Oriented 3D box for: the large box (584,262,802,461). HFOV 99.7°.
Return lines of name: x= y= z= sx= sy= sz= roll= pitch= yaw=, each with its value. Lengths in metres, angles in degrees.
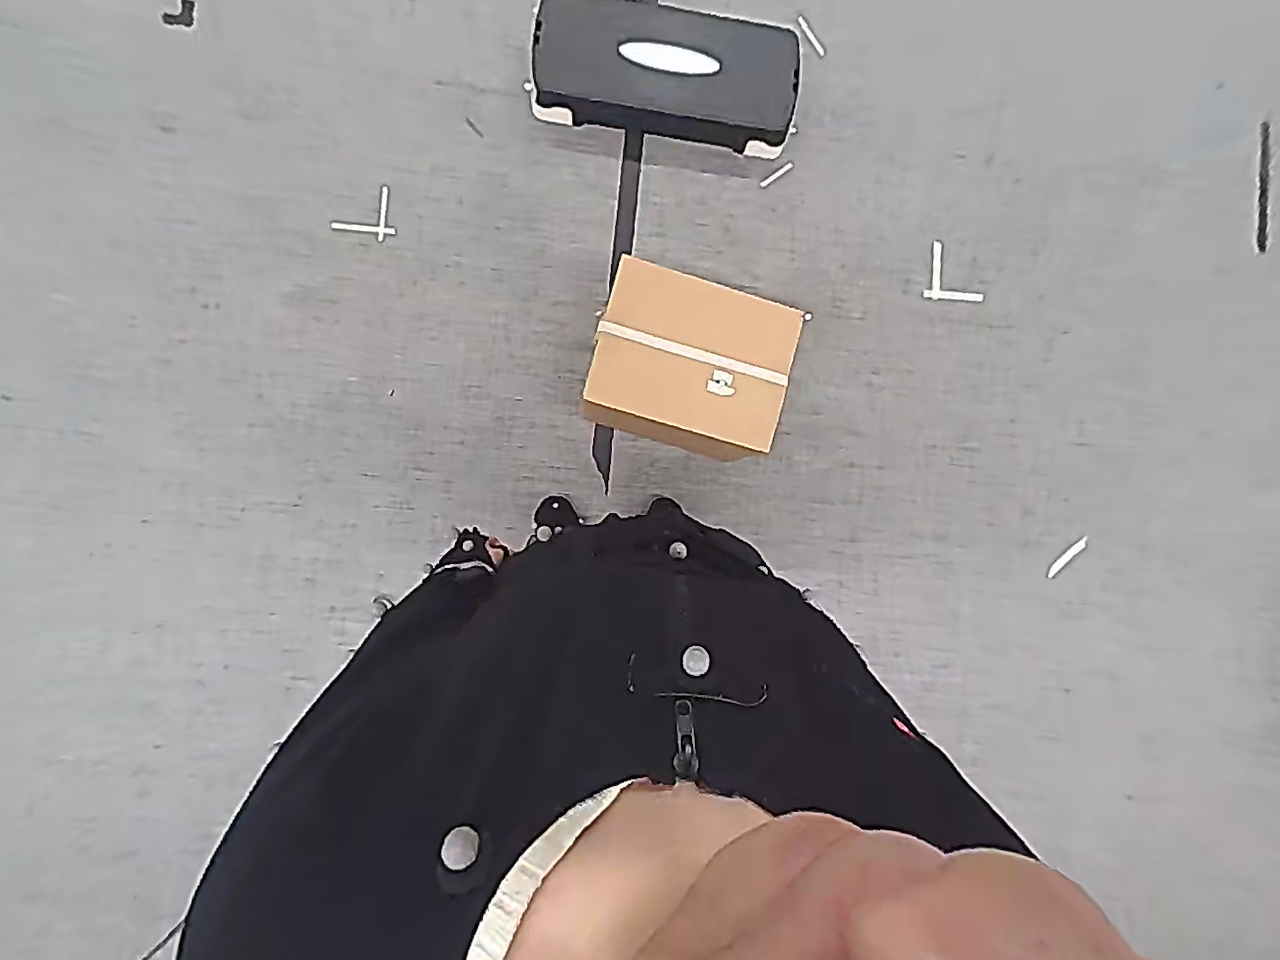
large box: x=0.098 y=-0.248 z=1.261 sx=0.408 sy=0.320 sz=0.320 roll=15 pitch=88 yaw=-6
